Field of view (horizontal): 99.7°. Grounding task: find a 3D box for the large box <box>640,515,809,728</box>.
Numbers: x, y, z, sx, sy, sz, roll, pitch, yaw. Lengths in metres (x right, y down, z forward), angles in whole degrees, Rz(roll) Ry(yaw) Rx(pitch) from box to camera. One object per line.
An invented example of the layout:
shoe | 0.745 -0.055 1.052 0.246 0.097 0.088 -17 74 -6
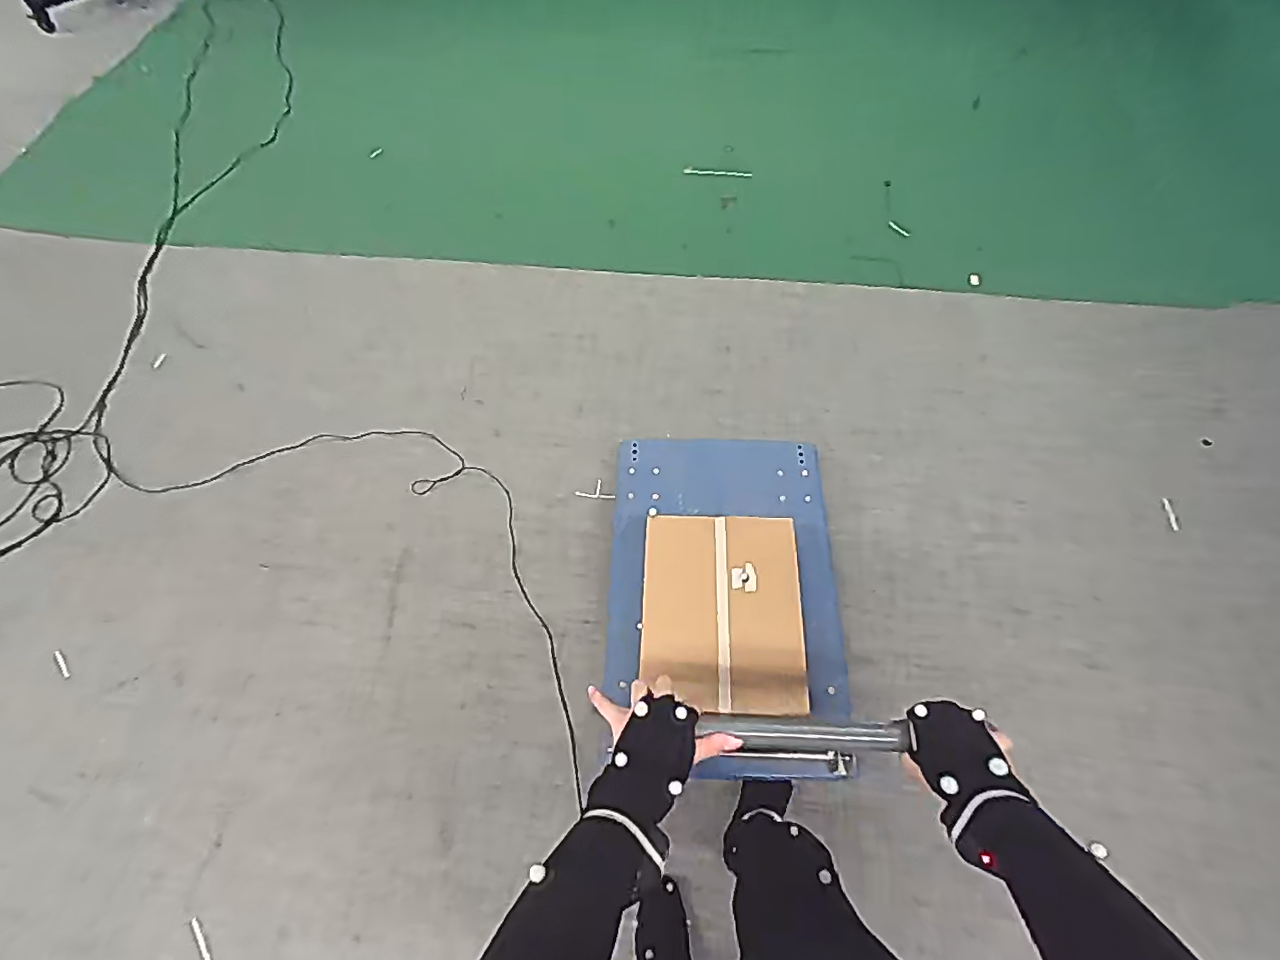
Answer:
large box | 0.166 0.325 1.206 0.320 0.320 0.408 1 62 3
